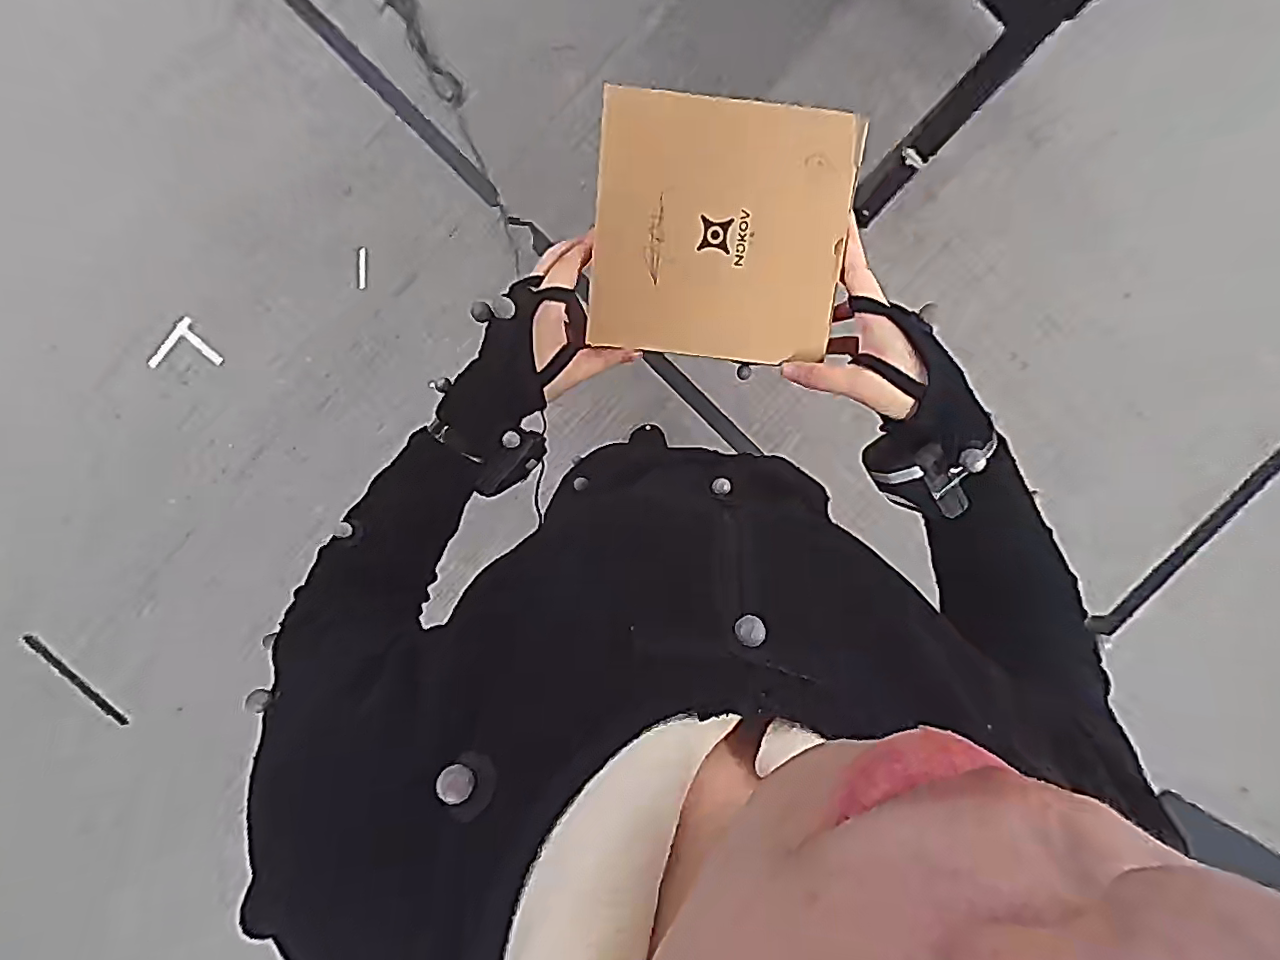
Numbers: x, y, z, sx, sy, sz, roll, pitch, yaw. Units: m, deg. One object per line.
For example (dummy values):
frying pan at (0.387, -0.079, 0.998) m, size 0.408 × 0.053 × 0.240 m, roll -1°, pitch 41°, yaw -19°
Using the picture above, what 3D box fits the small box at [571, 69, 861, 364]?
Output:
small box at (0.046, -0.189, 0.436) m, size 0.179 × 0.176 × 0.168 m, roll 6°, pitch 104°, yaw -1°

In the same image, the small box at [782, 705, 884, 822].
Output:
small box at (0.499, 0.744, 1.435) m, size 0.168 × 0.176 × 0.179 m, roll 44°, pitch 95°, yaw -1°
